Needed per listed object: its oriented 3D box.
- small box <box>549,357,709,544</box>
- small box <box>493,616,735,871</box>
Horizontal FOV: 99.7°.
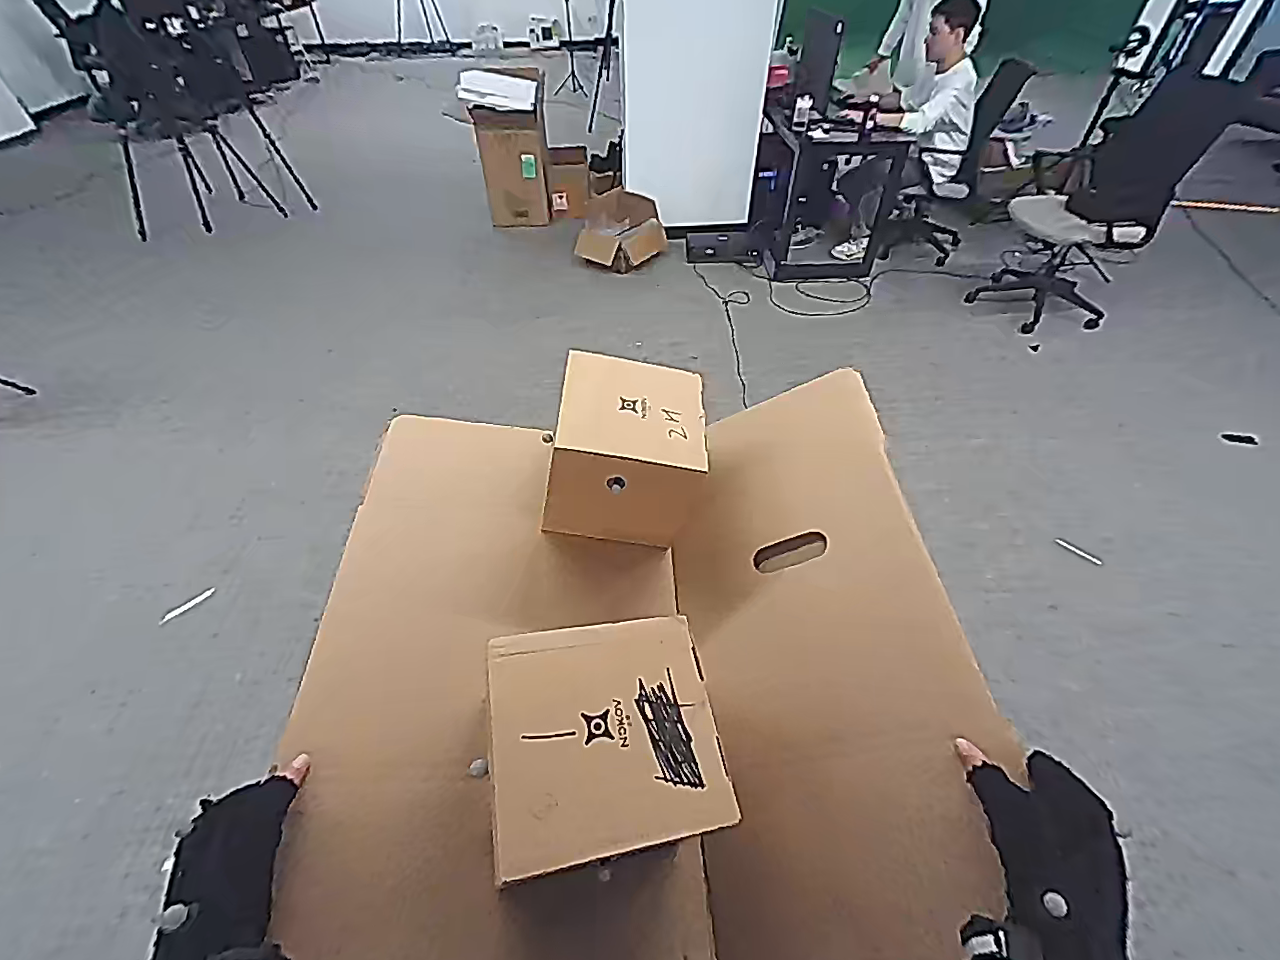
[{"bbox_3d":[-0.019,-0.032,0.713,0.179,0.176,0.168,10,51,-9],"label":"small box"},{"bbox_3d":[-0.040,0.240,0.494,0.179,0.176,0.168,-2,54,-16],"label":"small box"}]
